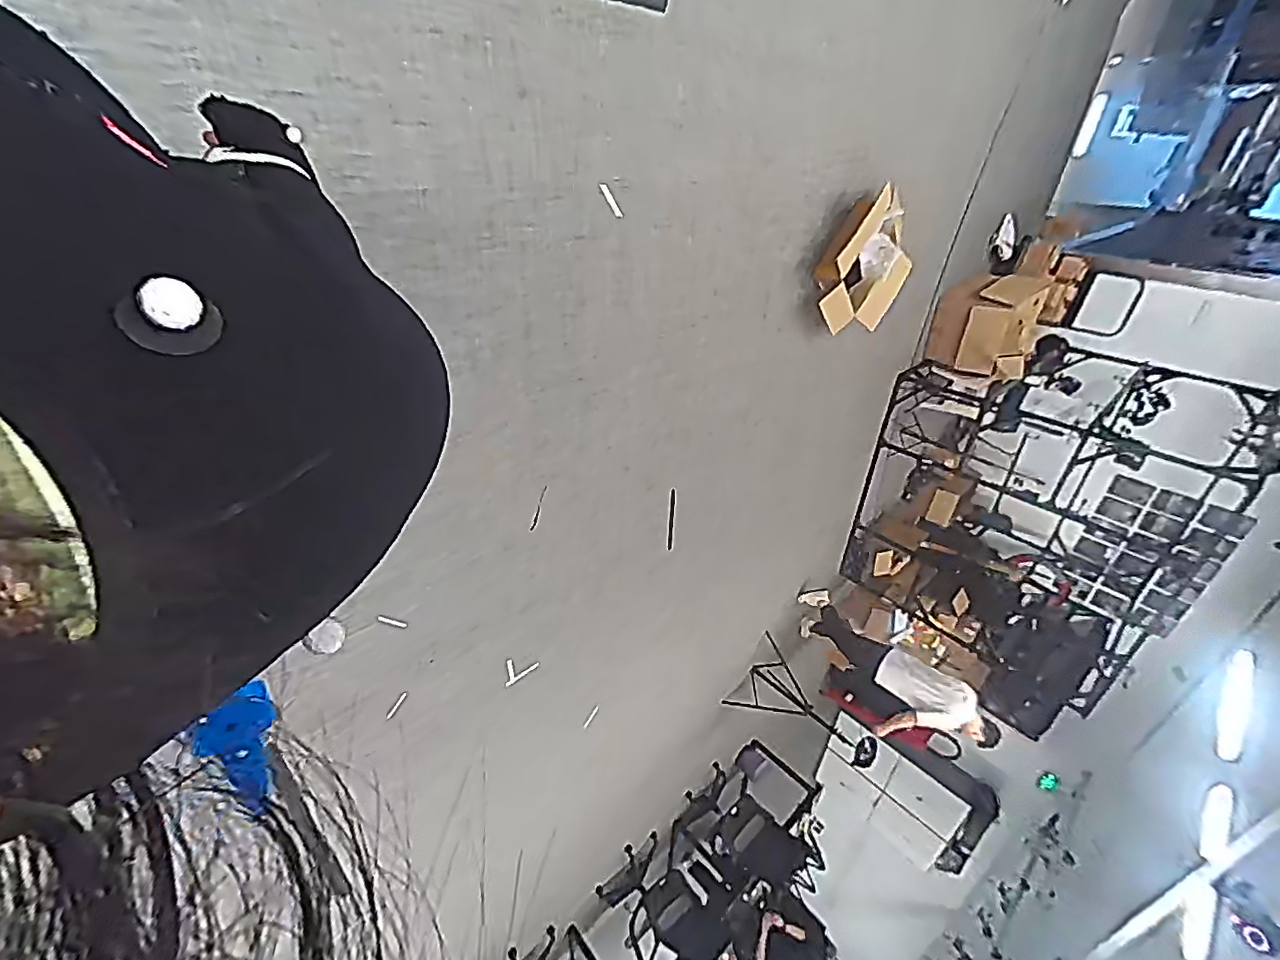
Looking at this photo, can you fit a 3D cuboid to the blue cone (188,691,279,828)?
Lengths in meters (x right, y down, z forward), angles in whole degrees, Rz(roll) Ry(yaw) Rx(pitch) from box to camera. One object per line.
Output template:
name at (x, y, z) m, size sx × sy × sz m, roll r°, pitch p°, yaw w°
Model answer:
blue cone at (-1.064, 0.788, 1.475) m, size 0.193 × 0.380 × 0.192 m, roll -22°, pitch 130°, yaw -38°
